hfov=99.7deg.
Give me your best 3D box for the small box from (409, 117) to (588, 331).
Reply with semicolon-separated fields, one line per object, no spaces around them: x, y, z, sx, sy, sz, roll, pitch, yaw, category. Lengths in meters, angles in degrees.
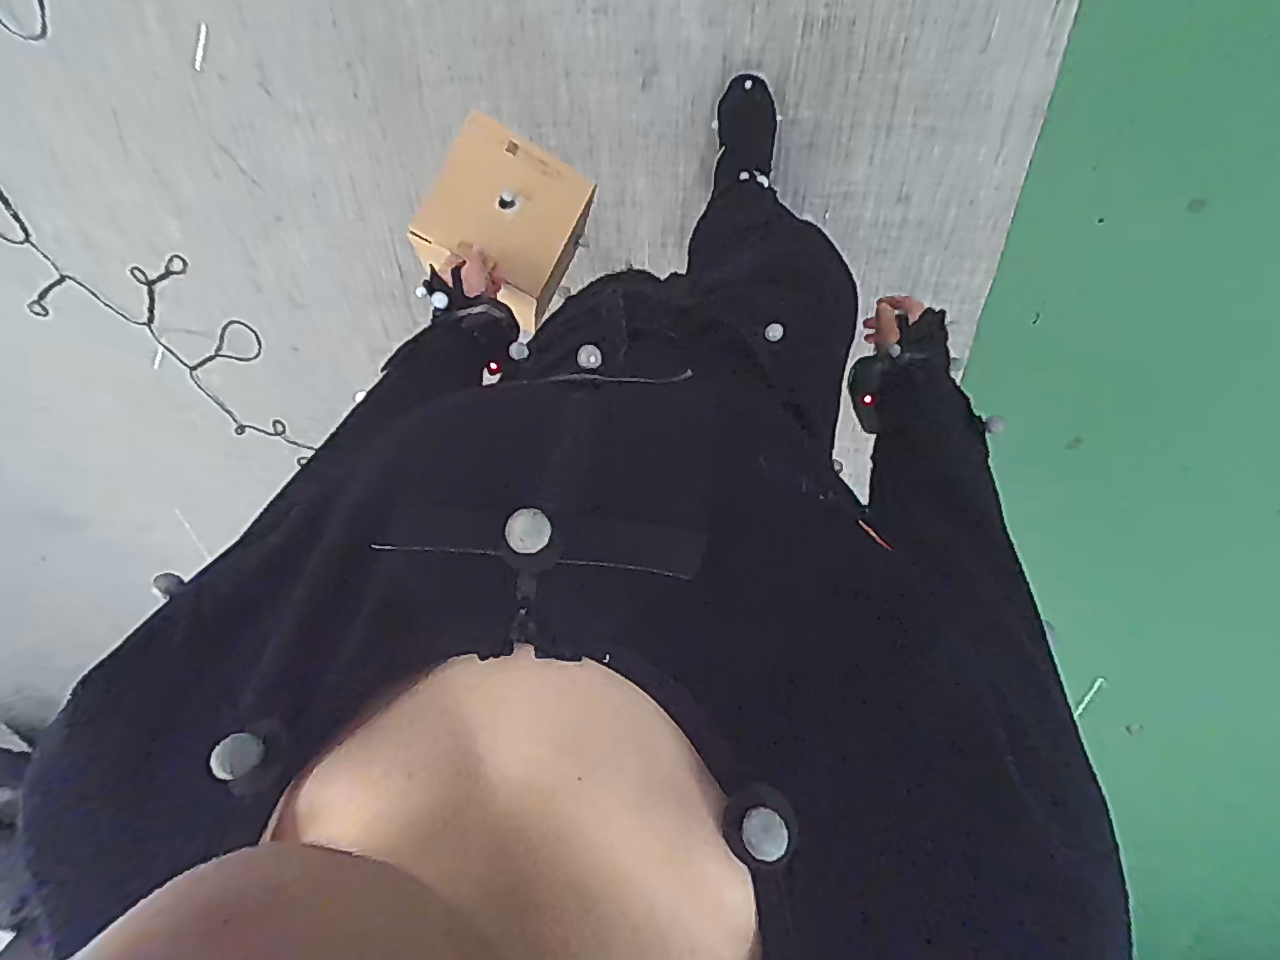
-0.181;-0.330;0.722;0.168;0.179;0.176;25;87;-12;small box
